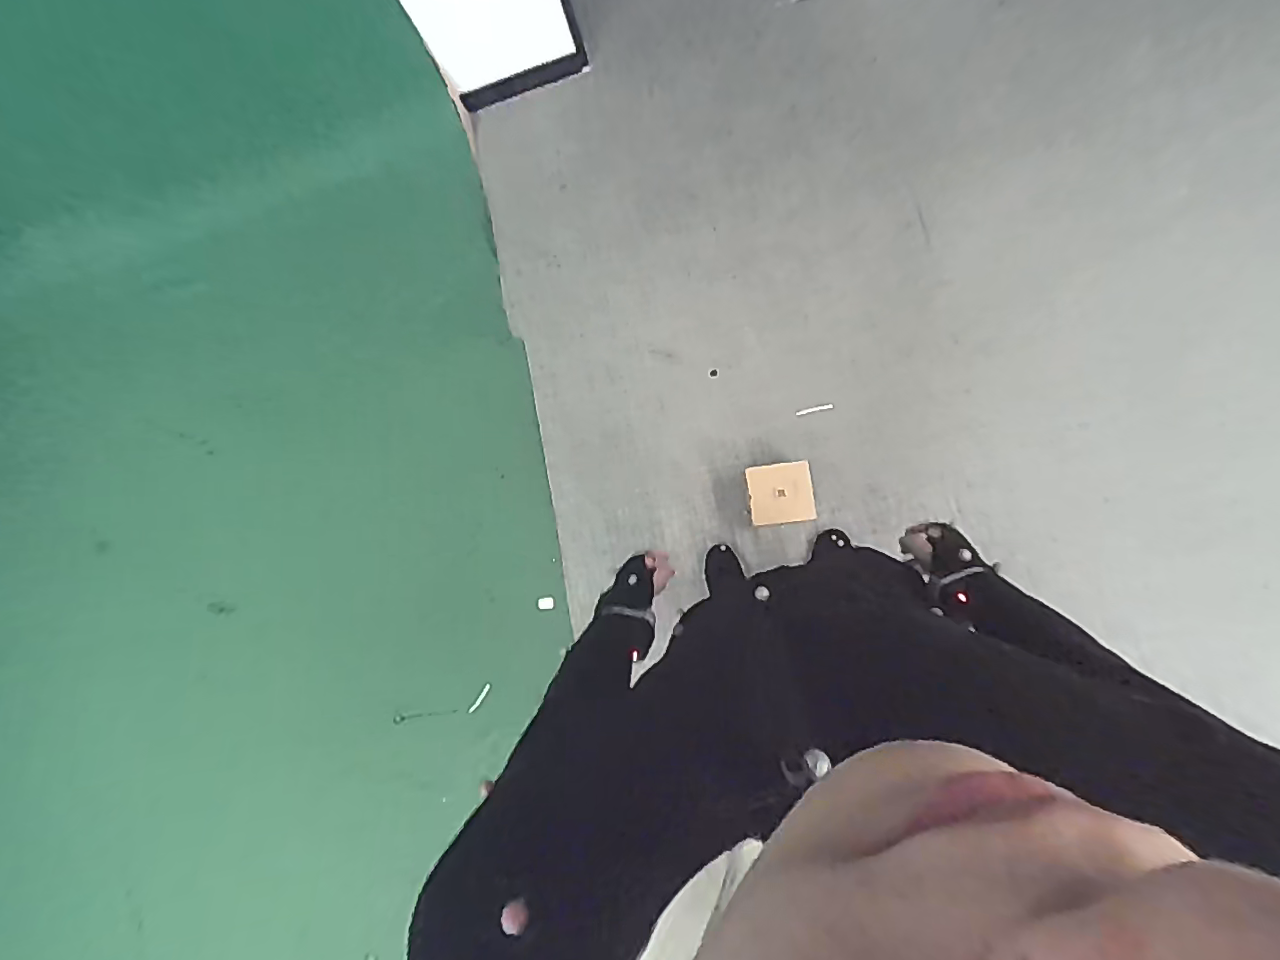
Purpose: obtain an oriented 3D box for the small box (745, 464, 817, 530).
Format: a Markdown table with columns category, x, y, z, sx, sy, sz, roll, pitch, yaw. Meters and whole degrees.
| category | x | y | z | sx | sy | sz | roll | pitch | yaw |
| --- | --- | --- | --- | --- | --- | --- | --- | --- | --- |
| small box | 0.402 | 0.055 | 1.565 | 0.179 | 0.176 | 0.168 | -7 | 82 | 9 |
